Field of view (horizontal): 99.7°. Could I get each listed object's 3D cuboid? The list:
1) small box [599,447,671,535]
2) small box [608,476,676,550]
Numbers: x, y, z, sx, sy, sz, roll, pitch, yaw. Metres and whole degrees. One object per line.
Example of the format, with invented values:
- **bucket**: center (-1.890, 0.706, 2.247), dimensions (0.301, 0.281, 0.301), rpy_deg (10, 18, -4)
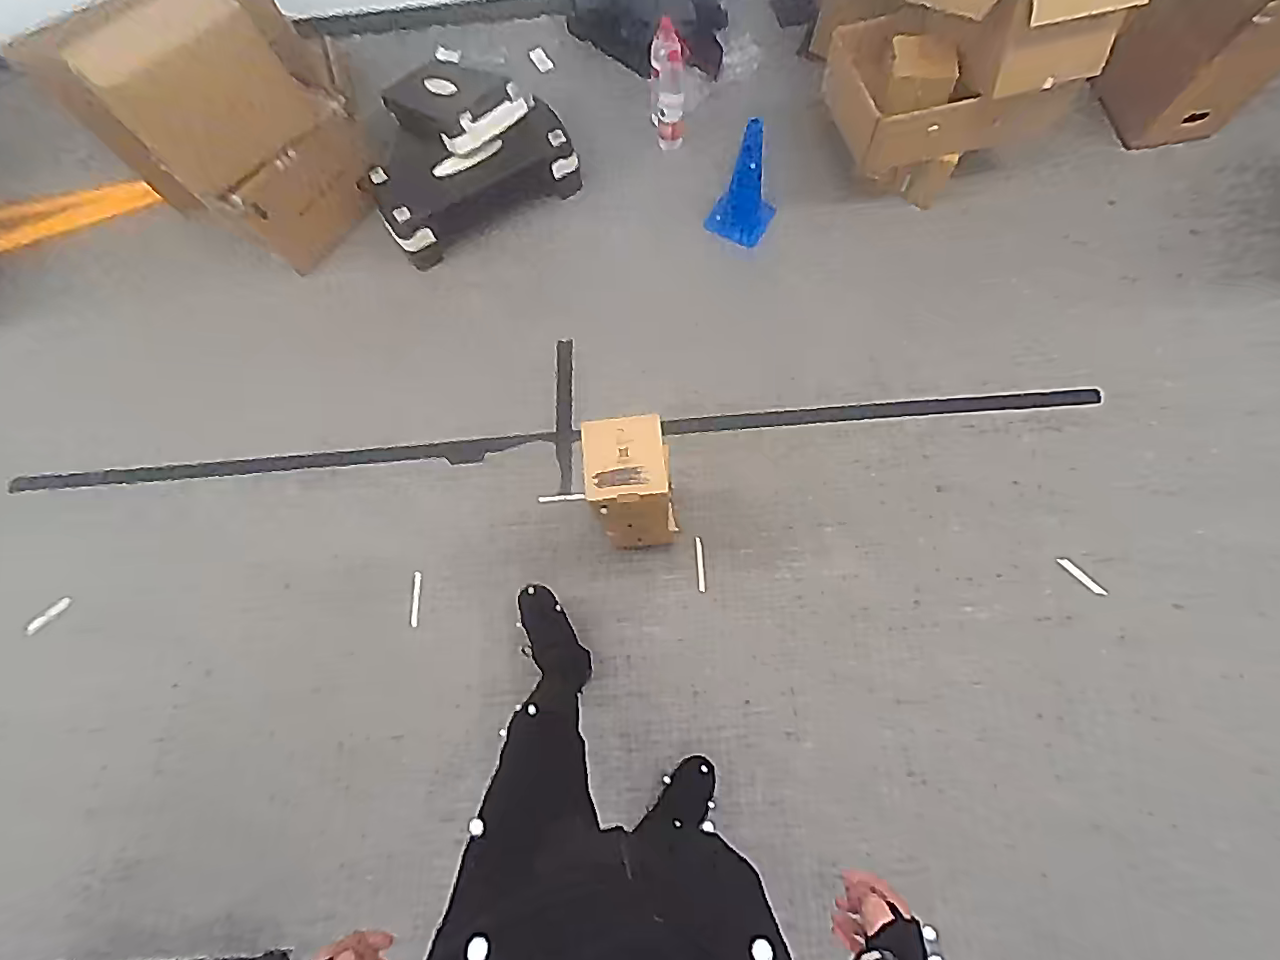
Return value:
- **small box**: center (-0.008, 0.030, 1.328), dimensions (0.168, 0.176, 0.179), rpy_deg (0, 73, 3)
- **small box**: center (0.005, 0.093, 1.478), dimensions (0.179, 0.176, 0.168), rpy_deg (-5, 72, 2)
